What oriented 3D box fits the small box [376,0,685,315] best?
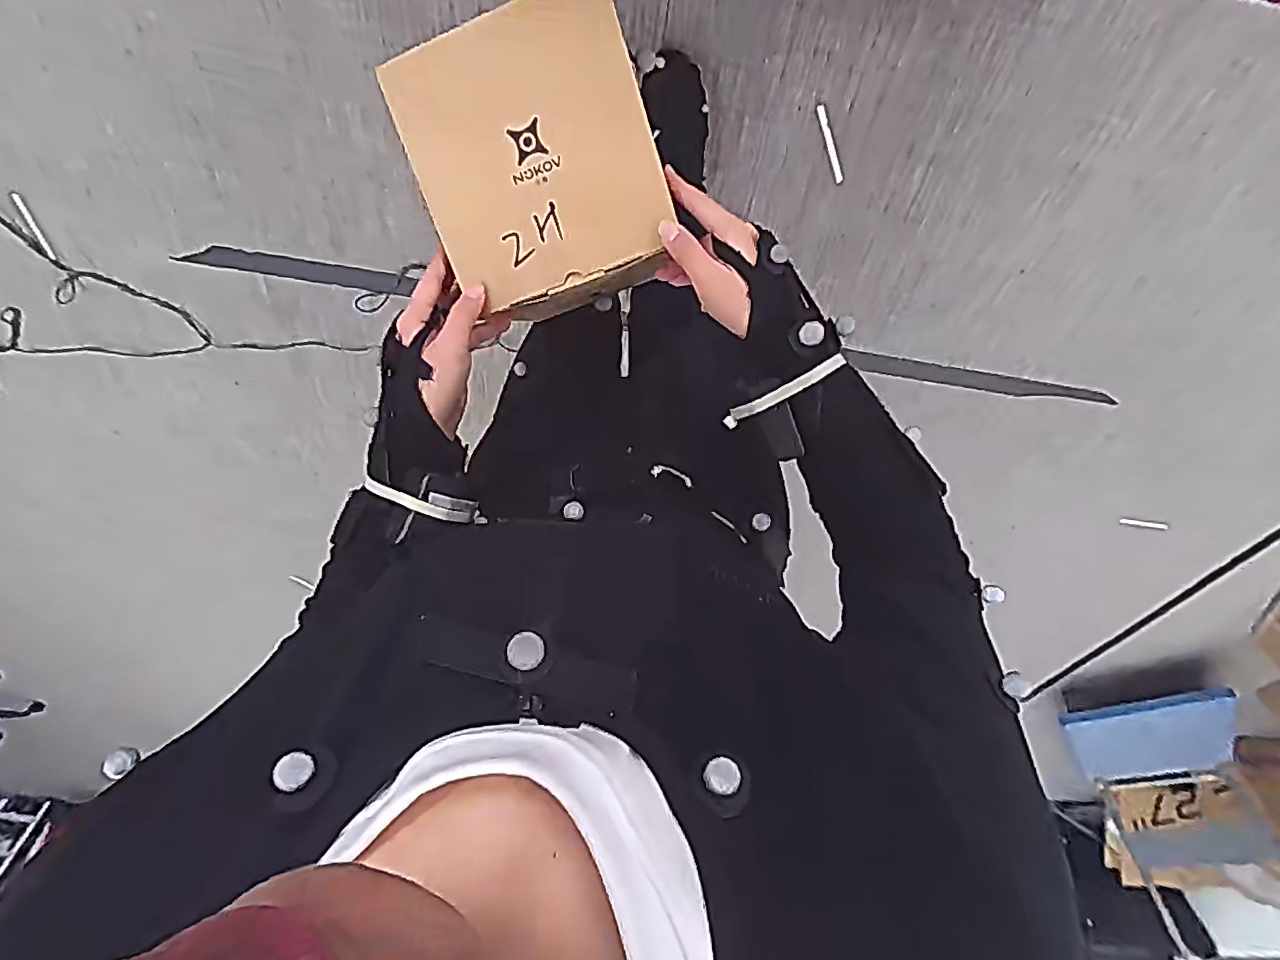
[{"bbox_3d":[-0.066,-0.244,0.438,0.168,0.176,0.179,-17,104,10],"label":"small box"}]
